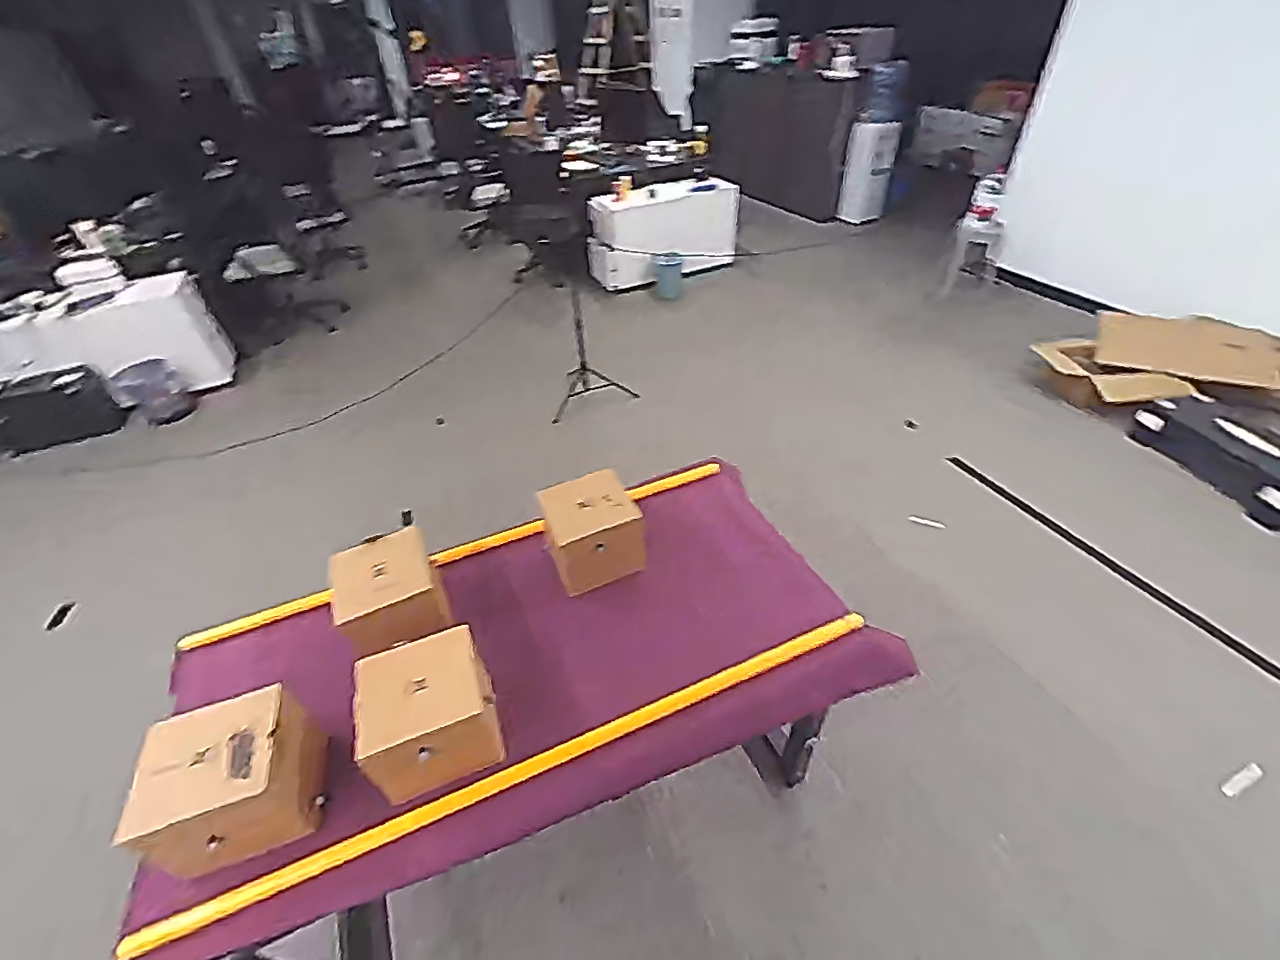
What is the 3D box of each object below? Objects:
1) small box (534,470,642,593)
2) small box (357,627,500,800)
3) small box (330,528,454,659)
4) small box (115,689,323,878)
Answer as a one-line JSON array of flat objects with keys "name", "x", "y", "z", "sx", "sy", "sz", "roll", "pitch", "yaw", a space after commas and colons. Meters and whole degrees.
[{"name": "small box", "x": -0.107, "y": 0.112, "z": 1.149, "sx": 0.179, "sy": 0.176, "sz": 0.168, "roll": -19, "pitch": 45, "yaw": -16}, {"name": "small box", "x": -0.333, "y": 0.375, "z": 0.870, "sx": 0.179, "sy": 0.176, "sz": 0.168, "roll": -18, "pitch": 43, "yaw": -14}, {"name": "small box", "x": -0.477, "y": 0.229, "z": 1.047, "sx": 0.168, "sy": 0.176, "sz": 0.179, "roll": -21, "pitch": 45, "yaw": -17}, {"name": "small box", "x": -0.598, "y": 0.448, "z": 0.803, "sx": 0.179, "sy": 0.176, "sz": 0.168, "roll": -16, "pitch": 42, "yaw": -13}]
